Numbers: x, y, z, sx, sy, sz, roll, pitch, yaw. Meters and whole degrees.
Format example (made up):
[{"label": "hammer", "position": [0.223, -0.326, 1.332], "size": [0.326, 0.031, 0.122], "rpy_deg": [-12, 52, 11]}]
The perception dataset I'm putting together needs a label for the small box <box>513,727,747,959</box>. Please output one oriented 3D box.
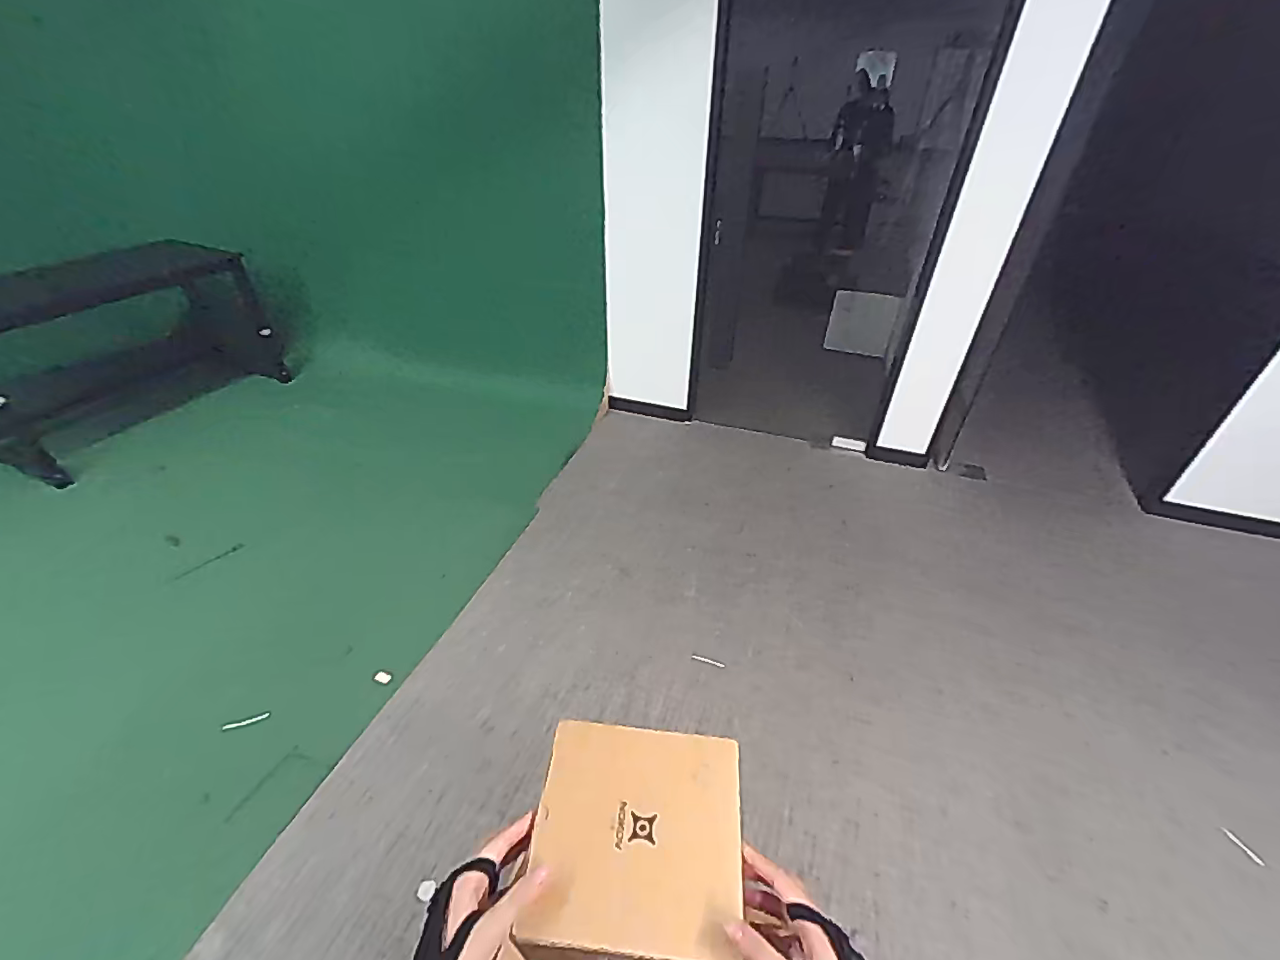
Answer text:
[{"label": "small box", "position": [-0.002, 0.360, 0.507], "size": [0.179, 0.176, 0.168], "rpy_deg": [4, 39, 4]}]
